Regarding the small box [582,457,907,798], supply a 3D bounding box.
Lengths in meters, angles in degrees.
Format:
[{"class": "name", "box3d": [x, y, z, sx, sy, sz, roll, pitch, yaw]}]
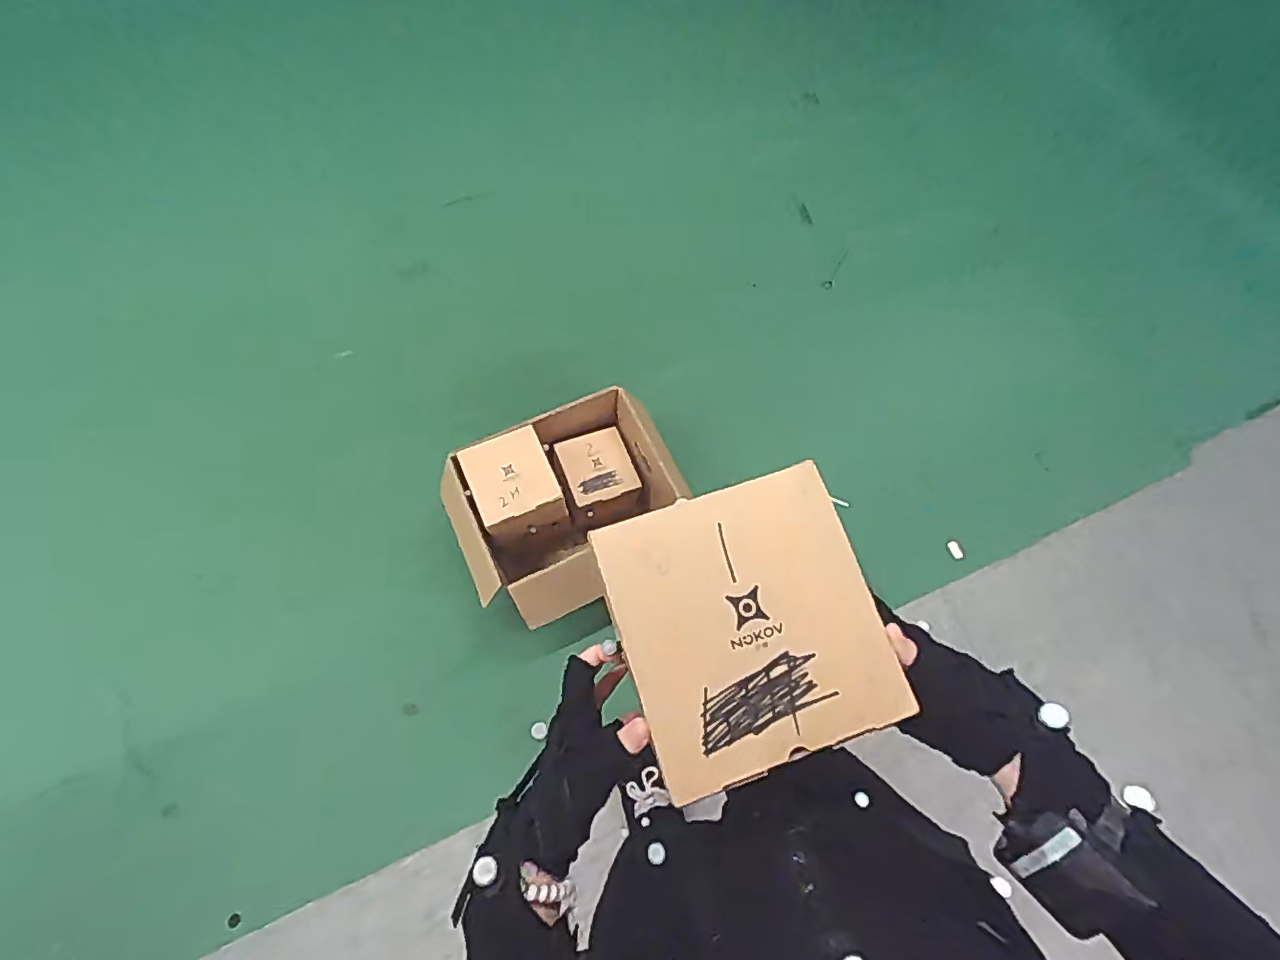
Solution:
[{"class": "small box", "box3d": [0.061, 0.103, 0.423, 0.168, 0.176, 0.179, -18, 78, -7]}]
